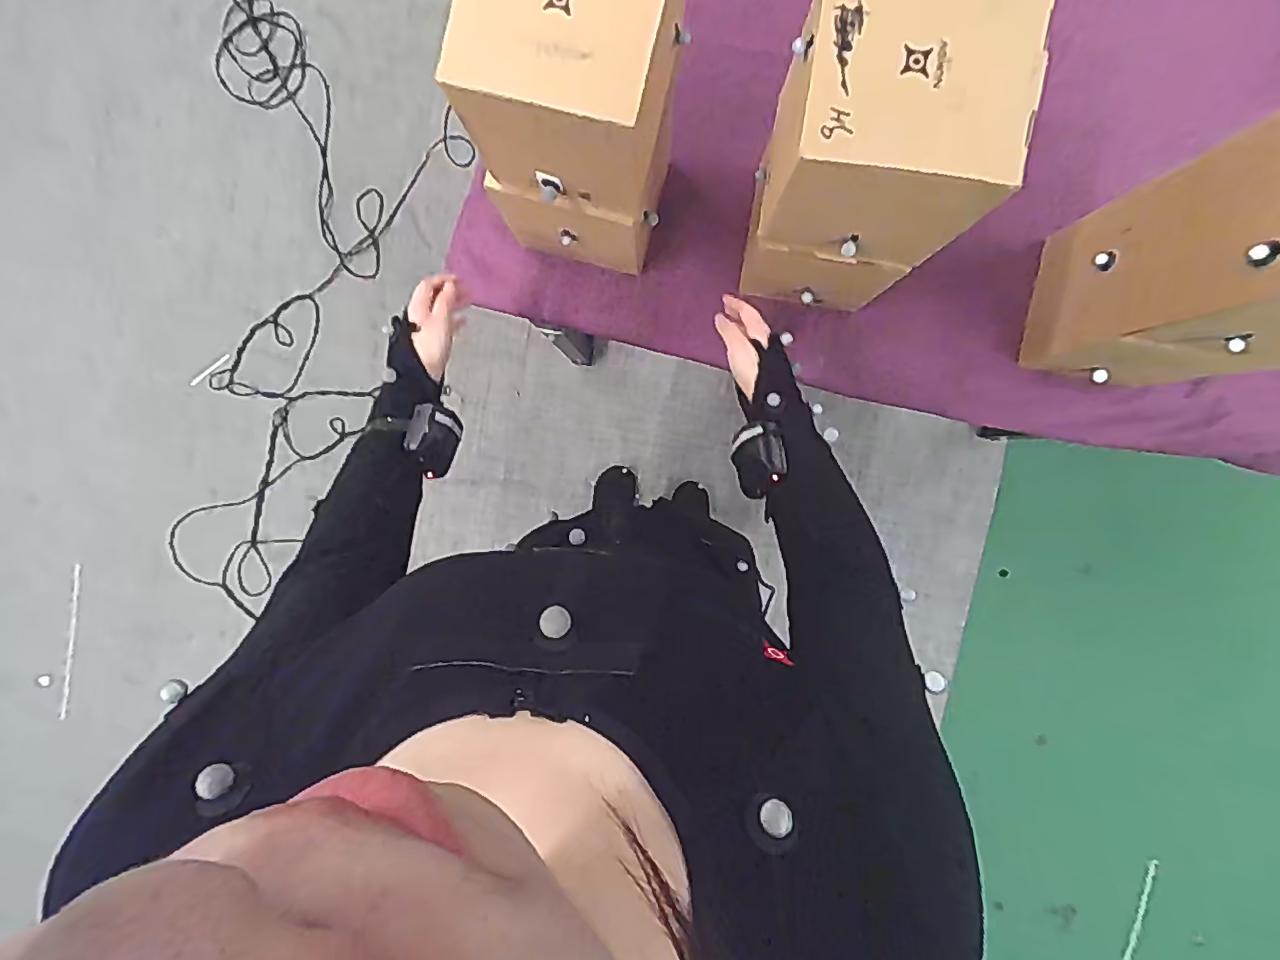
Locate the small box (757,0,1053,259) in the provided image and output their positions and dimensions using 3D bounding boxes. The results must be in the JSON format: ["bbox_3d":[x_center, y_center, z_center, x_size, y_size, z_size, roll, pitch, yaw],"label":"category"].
[{"bbox_3d":[0.221,-0.321,0.497,0.179,0.176,0.168,9,92,0],"label":"small box"}]

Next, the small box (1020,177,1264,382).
[{"bbox_3d":[0.608,-0.228,0.658,0.168,0.176,0.179,11,94,1],"label":"small box"}]

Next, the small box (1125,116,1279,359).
[{"bbox_3d":[0.606,-0.223,0.496,0.168,0.176,0.179,10,94,1],"label":"small box"}]

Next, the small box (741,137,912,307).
[{"bbox_3d":[0.227,-0.331,0.660,0.168,0.176,0.179,10,93,1],"label":"small box"}]

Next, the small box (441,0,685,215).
[{"bbox_3d":[-0.056,-0.382,0.501,0.168,0.176,0.179,14,93,2],"label":"small box"}]
